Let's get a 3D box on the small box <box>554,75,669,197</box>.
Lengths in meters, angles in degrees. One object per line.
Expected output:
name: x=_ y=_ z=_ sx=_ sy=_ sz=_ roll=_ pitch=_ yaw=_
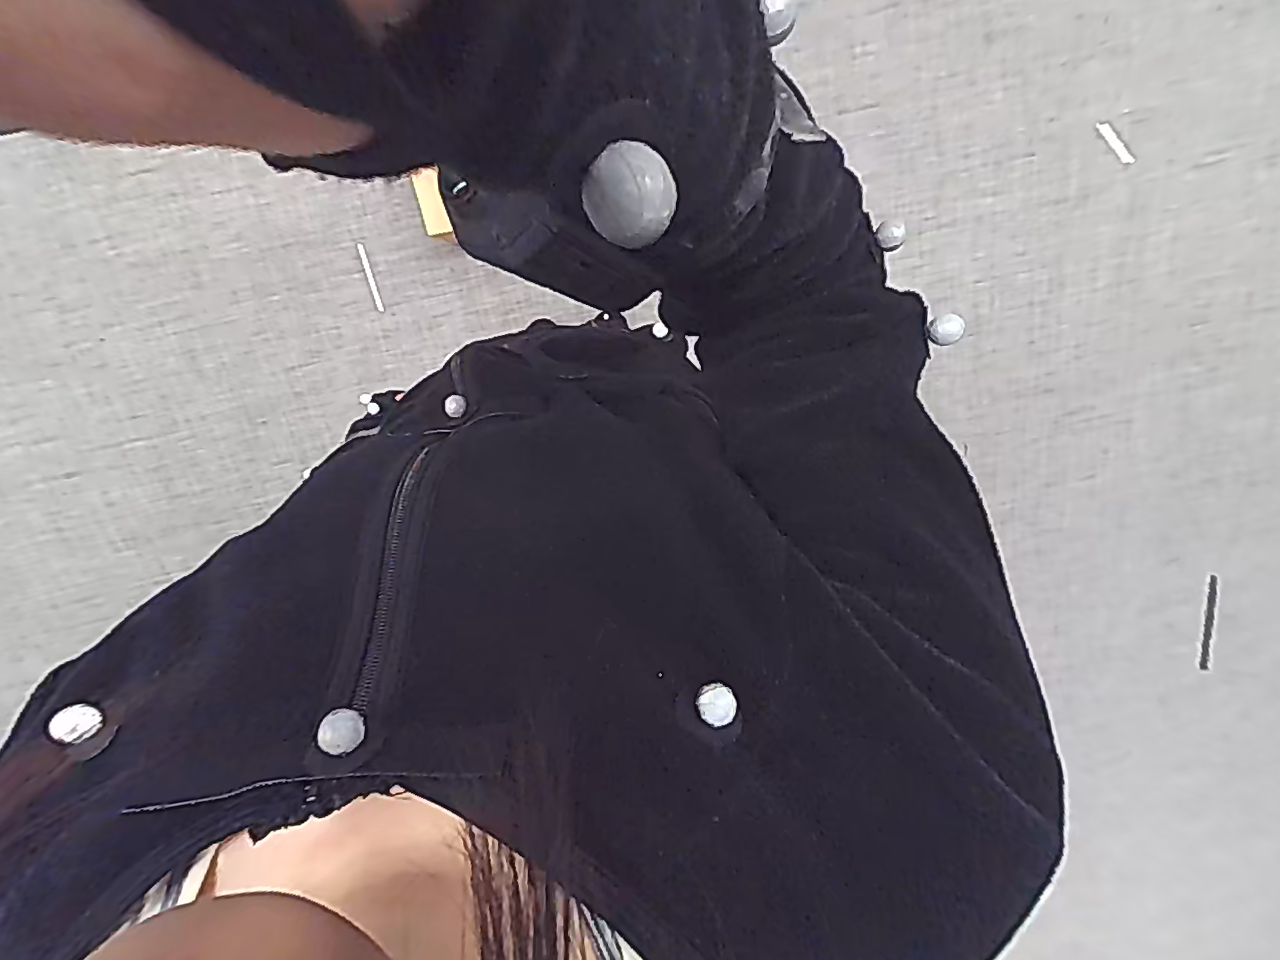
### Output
small box: x=-0.052 y=-0.635 z=0.996 sx=0.179 sy=0.176 sz=0.168 roll=-11 pitch=109 yaw=-3

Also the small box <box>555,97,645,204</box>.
small box: x=-0.075 y=-0.701 z=1.147 sx=0.168 sy=0.176 sz=0.179 roll=-13 pitch=108 yaw=-2

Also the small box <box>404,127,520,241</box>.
small box: x=-0.367 y=-0.617 z=1.148 sx=0.179 sy=0.176 sz=0.168 roll=-12 pitch=108 yaw=-2
